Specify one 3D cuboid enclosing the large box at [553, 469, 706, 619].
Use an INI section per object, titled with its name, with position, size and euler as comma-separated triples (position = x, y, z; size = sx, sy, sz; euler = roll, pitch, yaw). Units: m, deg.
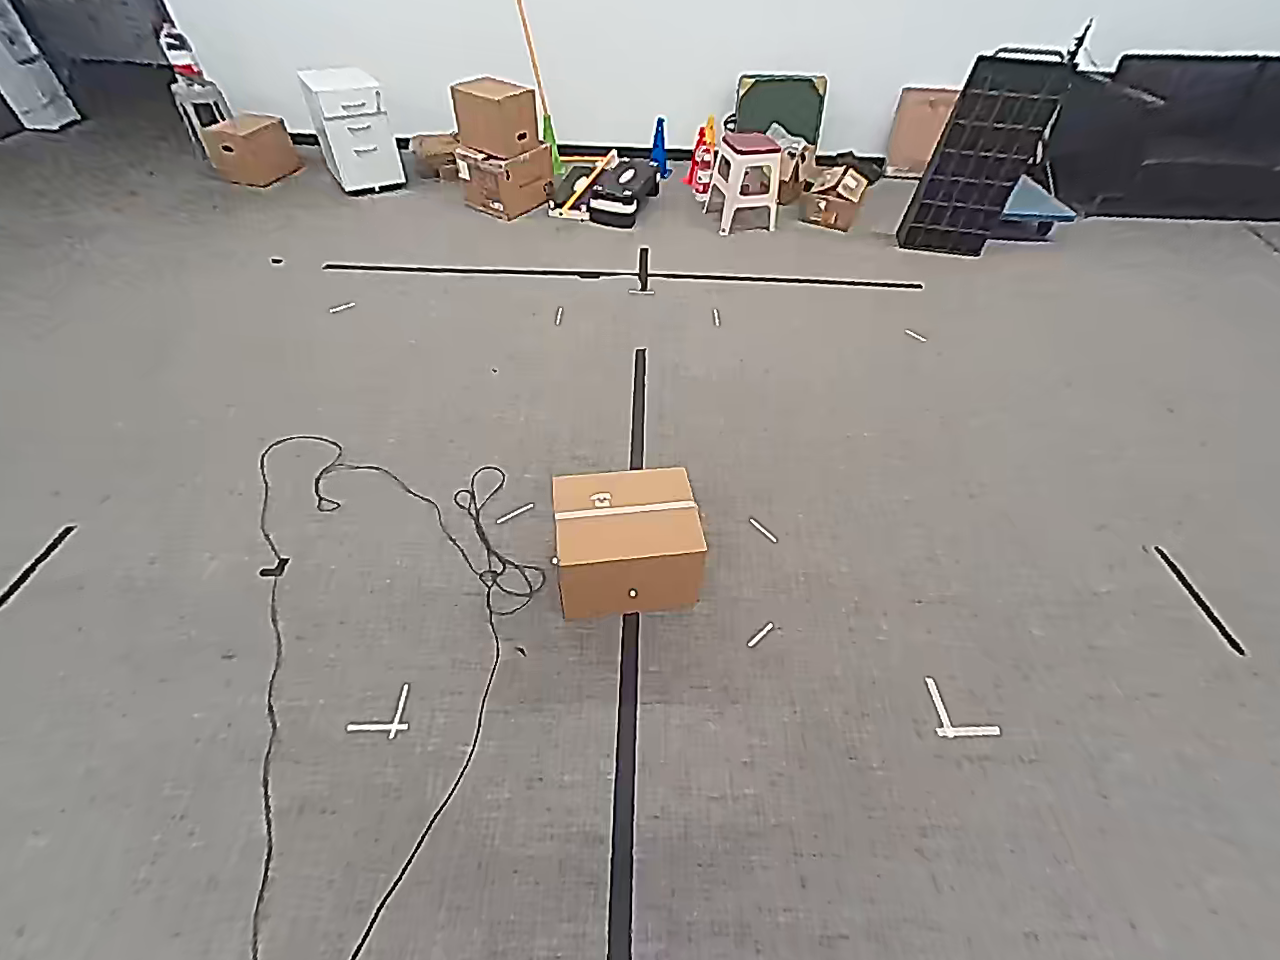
[large box]
position = -0.042, 0.197, 1.644
size = 0.408, 0.320, 0.320
euler = -5, 48, -7
